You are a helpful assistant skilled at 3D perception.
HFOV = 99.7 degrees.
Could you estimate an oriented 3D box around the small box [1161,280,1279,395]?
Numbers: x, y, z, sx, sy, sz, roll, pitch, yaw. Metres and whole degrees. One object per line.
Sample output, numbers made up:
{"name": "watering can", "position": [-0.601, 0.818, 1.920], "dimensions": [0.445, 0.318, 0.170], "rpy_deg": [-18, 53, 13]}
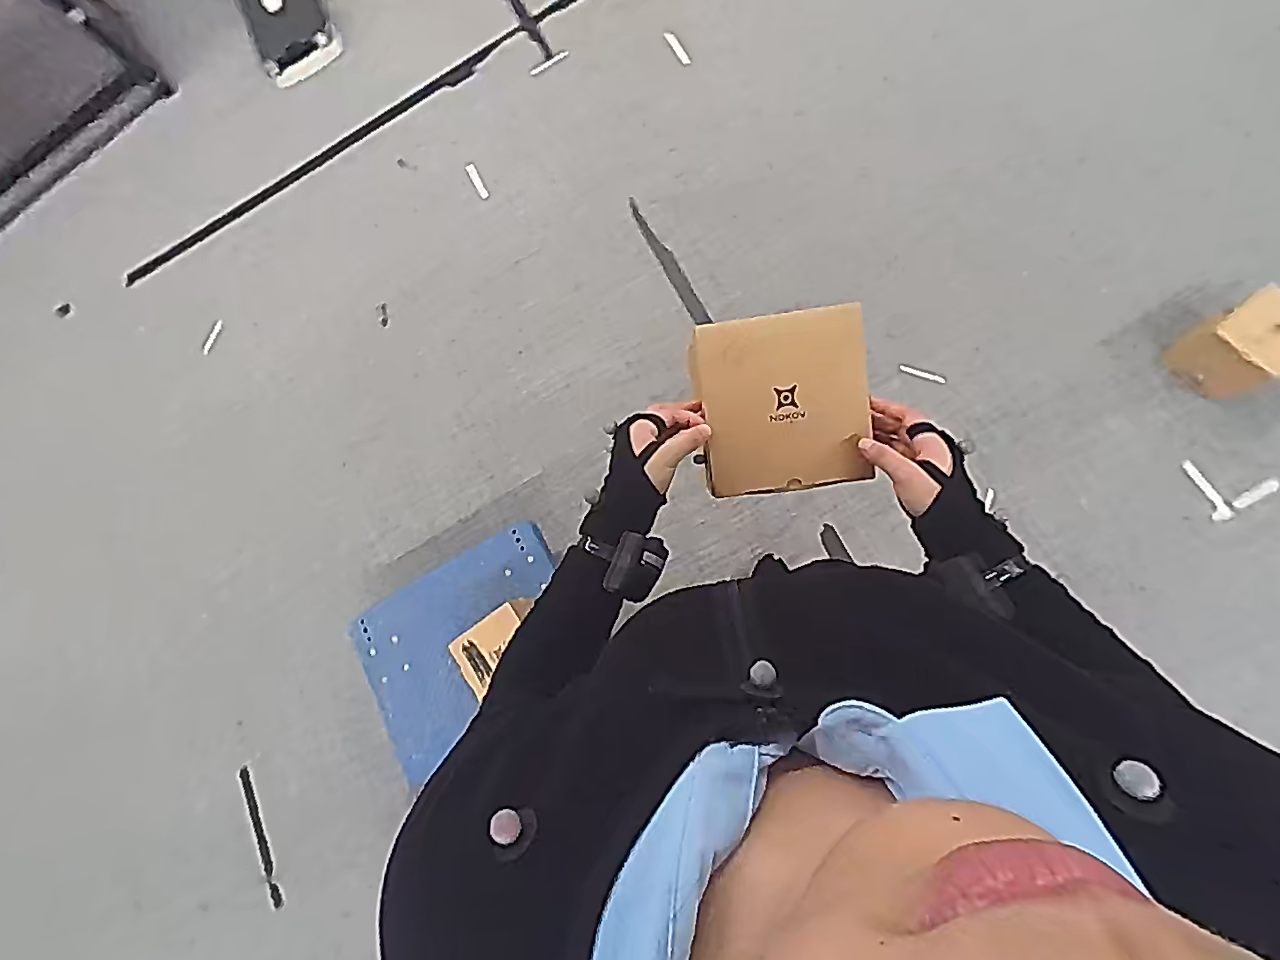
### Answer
{"name": "small box", "position": [1.449, -0.337, 1.312], "dimensions": [0.179, 0.176, 0.168], "rpy_deg": [-41, 76, 1]}
